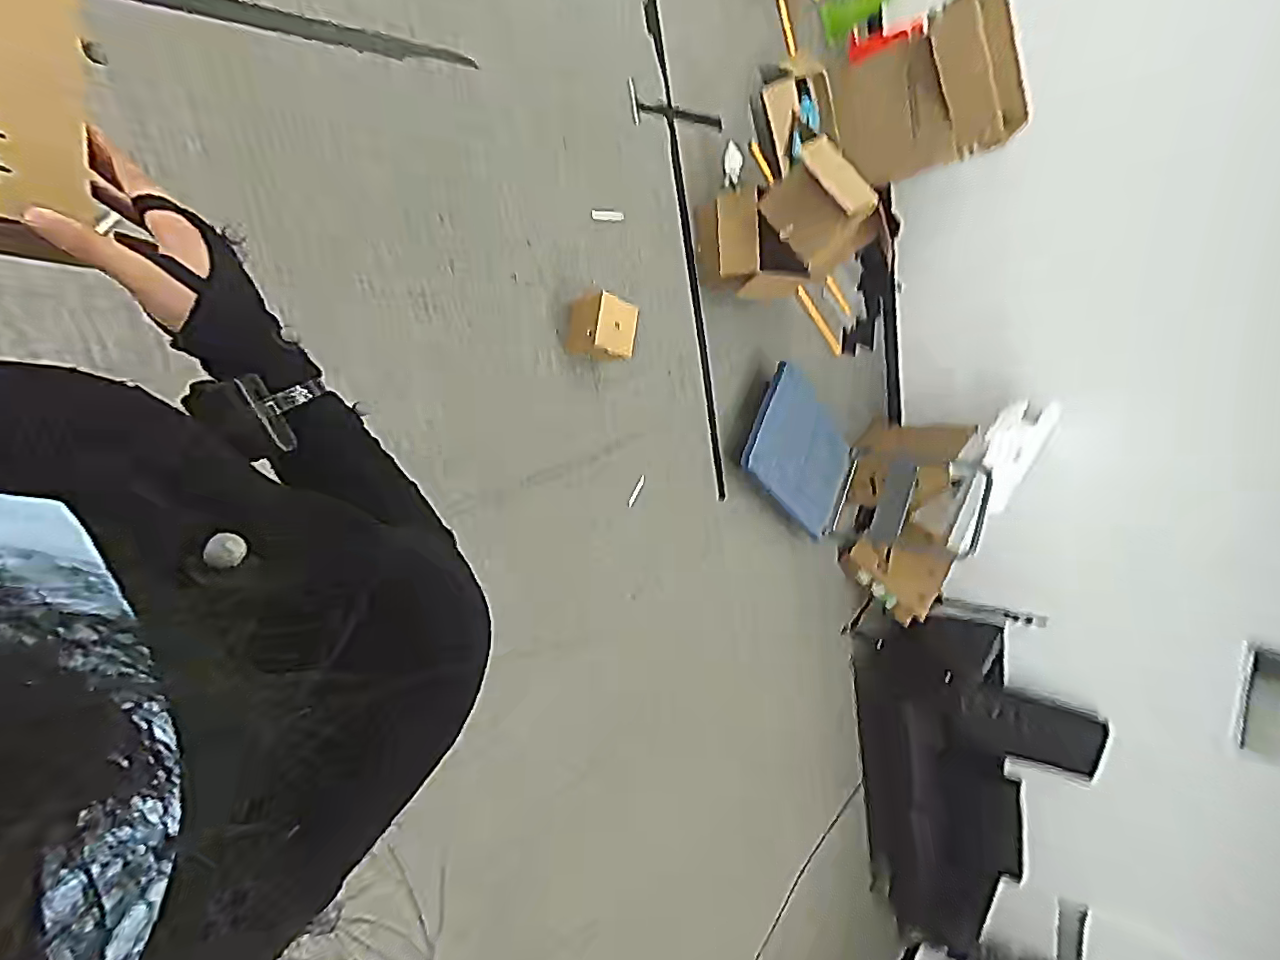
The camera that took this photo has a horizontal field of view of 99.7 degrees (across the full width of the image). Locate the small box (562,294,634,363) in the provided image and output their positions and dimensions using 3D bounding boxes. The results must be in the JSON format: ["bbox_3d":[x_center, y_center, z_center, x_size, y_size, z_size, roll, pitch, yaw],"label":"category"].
[{"bbox_3d":[-0.145,-0.508,1.841,0.168,0.176,0.179,11,87,-45],"label":"small box"}]
